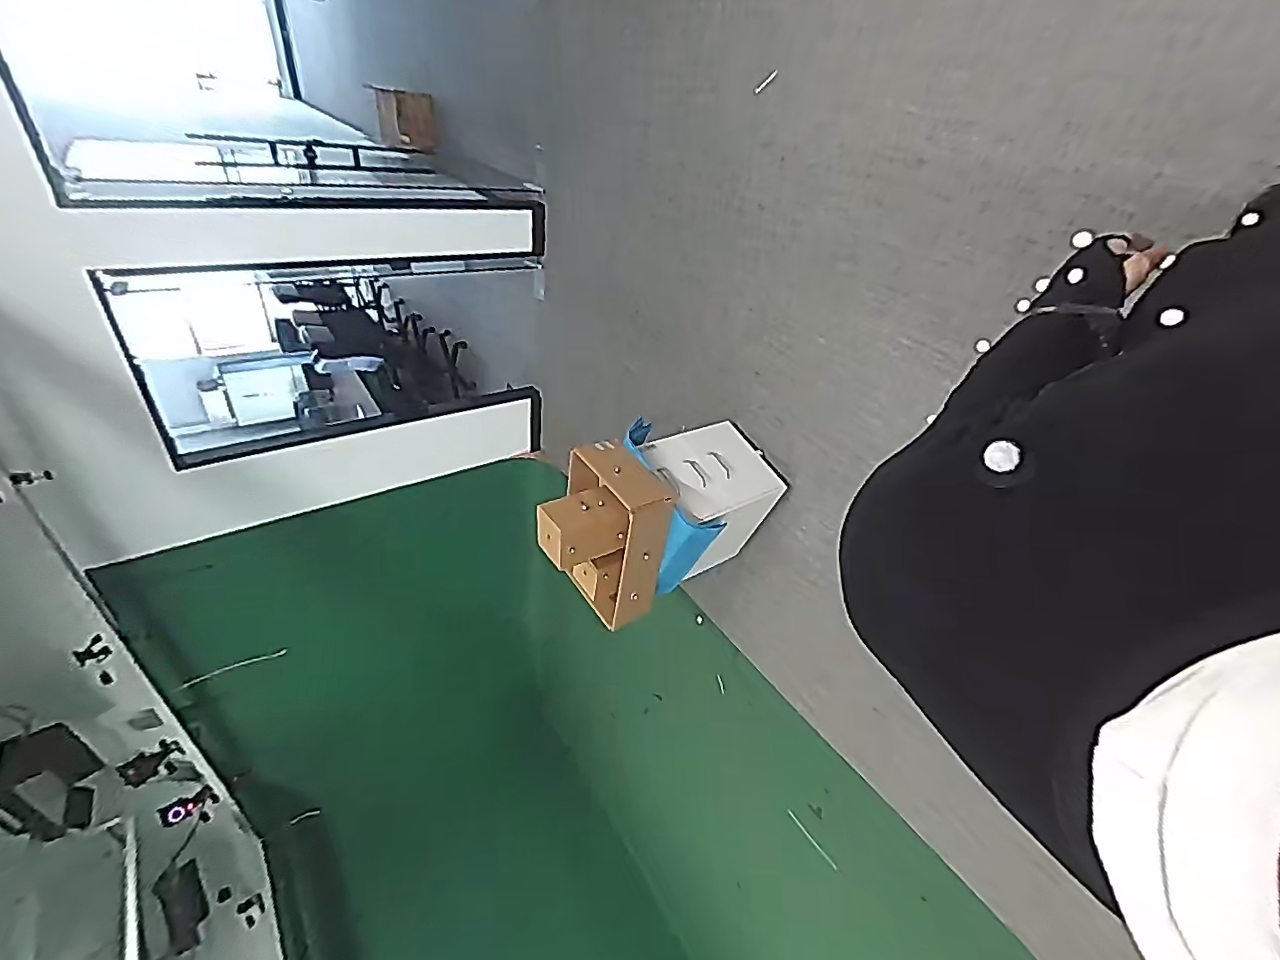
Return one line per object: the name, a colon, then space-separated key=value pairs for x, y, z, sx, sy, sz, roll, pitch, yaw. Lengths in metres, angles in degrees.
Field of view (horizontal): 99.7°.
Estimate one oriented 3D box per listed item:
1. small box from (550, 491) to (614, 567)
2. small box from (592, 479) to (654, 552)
small box: x=-0.200 y=0.164 z=1.864 sx=0.168 sy=0.176 sz=0.179 roll=42 pitch=137 yaw=42
small box: x=-0.064 y=0.123 z=1.945 sx=0.168 sy=0.176 sz=0.179 roll=43 pitch=139 yaw=41
